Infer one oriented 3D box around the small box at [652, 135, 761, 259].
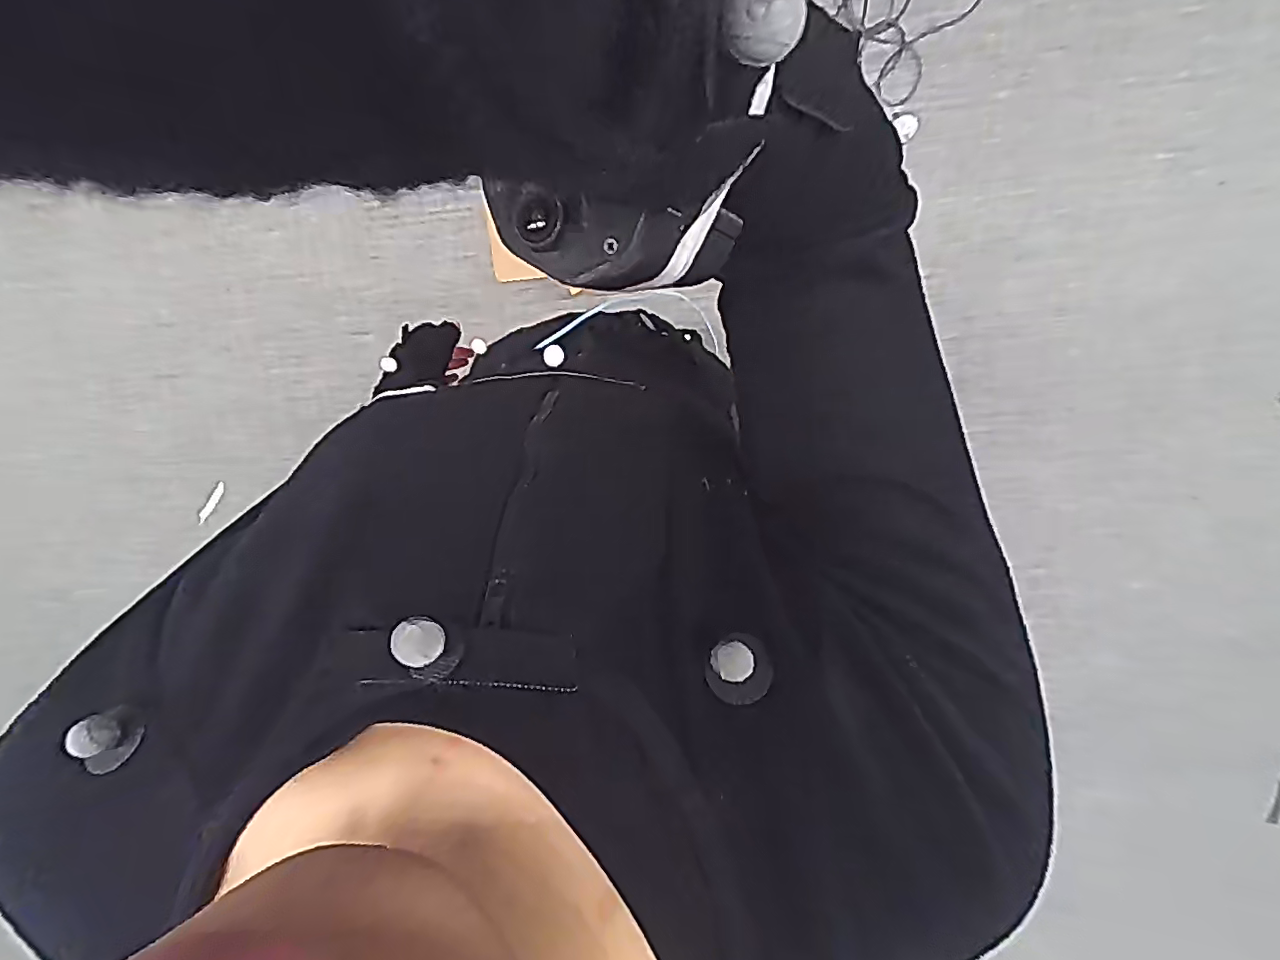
[{"bbox_3d":[0.144,-0.619,1.206,0.179,0.176,0.168,-32,102,14],"label":"small box"}]
